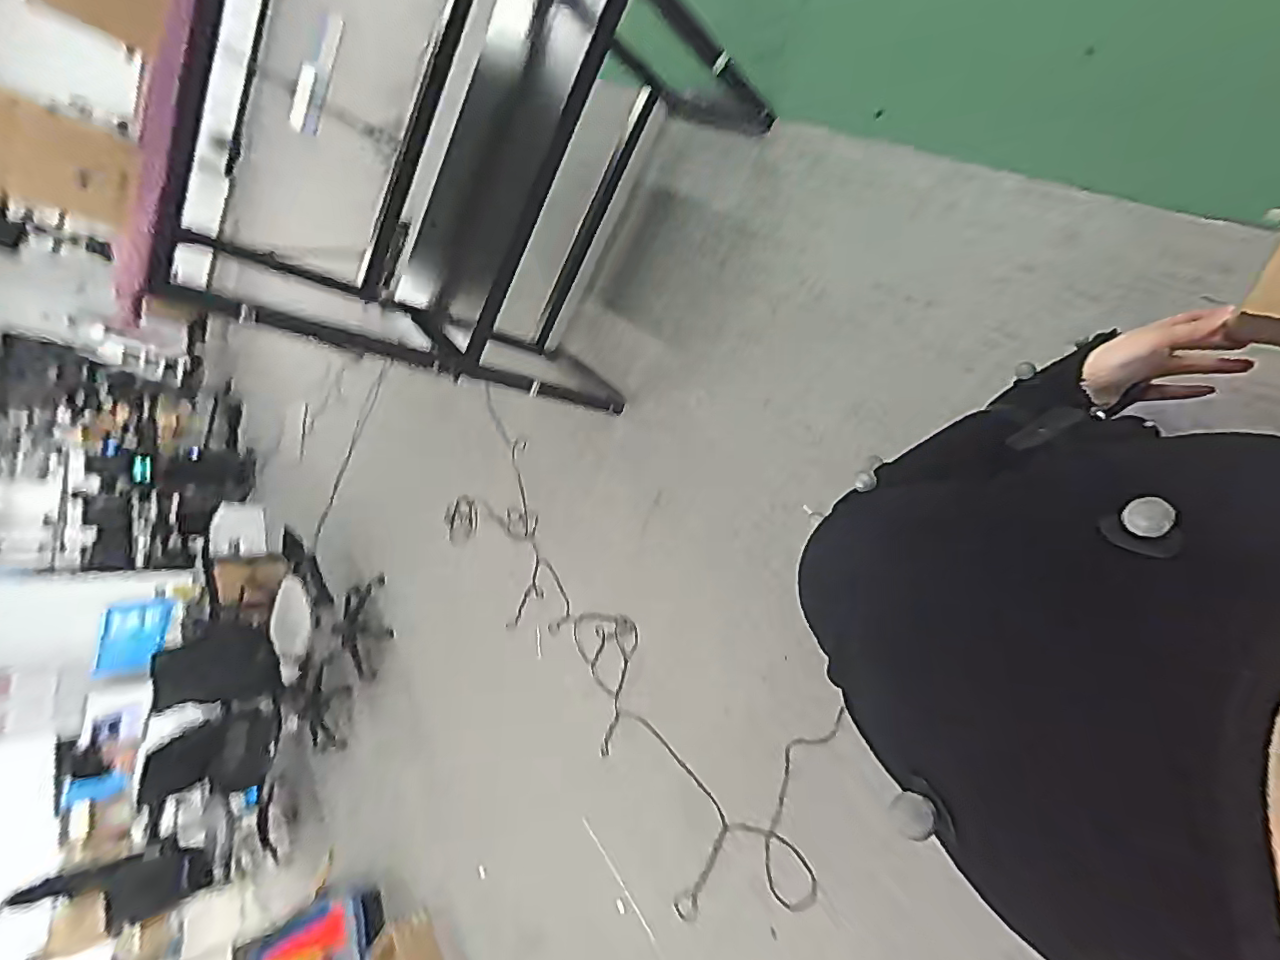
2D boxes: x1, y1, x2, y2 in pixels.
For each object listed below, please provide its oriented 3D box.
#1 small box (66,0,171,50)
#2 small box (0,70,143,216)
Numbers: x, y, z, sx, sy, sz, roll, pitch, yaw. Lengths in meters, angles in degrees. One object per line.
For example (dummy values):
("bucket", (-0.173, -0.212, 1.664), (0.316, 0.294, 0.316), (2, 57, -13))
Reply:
("small box", (-0.925, -0.901, 0.937), (0.168, 0.176, 0.179), (43, 113, 37))
("small box", (-1.076, -0.632, 1.029), (0.179, 0.176, 0.168), (42, 111, 36))
